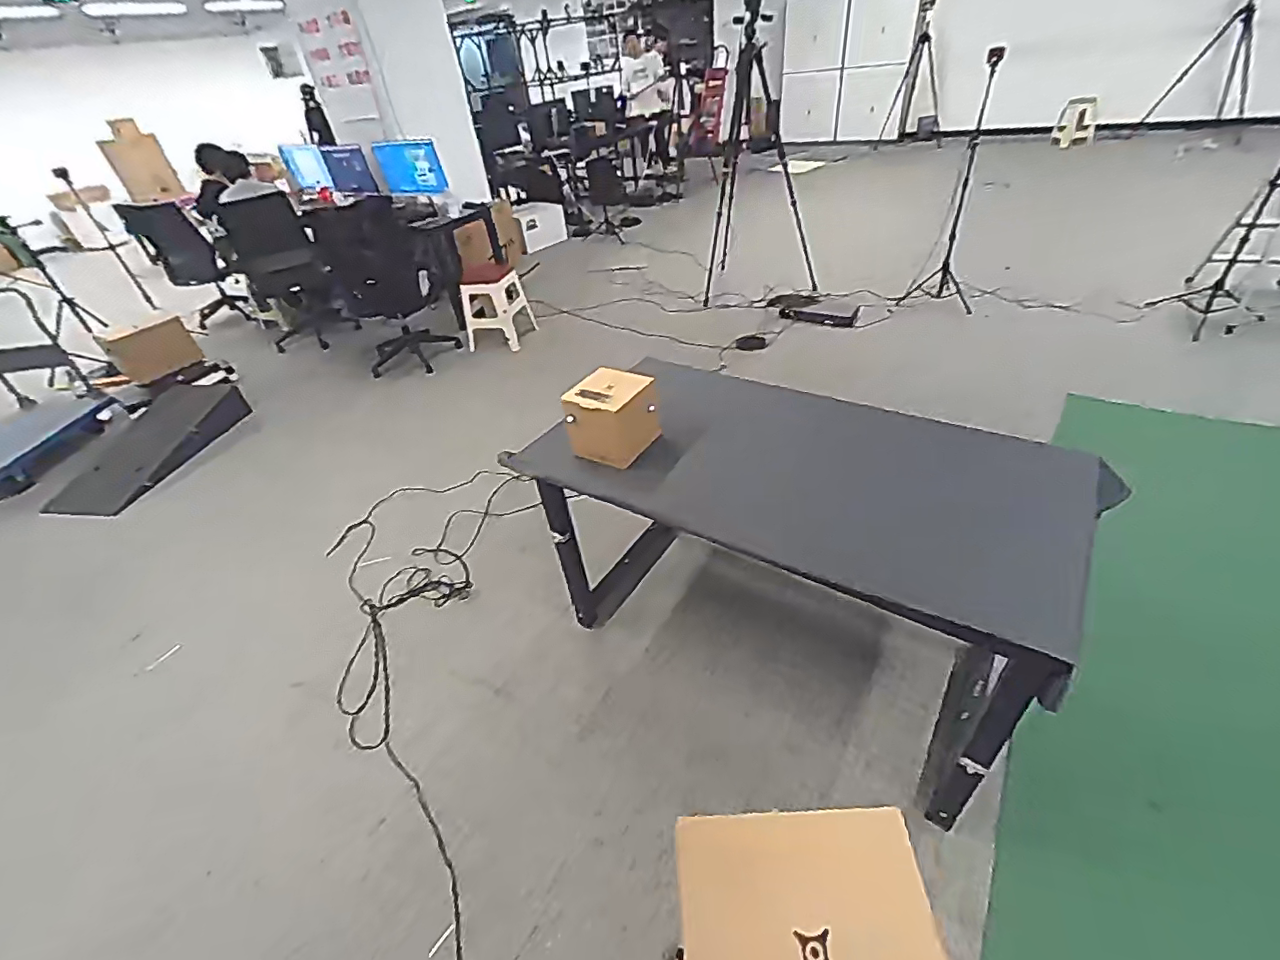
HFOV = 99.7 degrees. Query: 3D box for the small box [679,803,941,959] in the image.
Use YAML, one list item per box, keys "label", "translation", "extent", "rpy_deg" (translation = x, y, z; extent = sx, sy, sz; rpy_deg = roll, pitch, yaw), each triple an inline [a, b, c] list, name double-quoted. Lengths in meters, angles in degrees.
- label: "small box"
  translation: [0.116, 0.363, 0.408]
  extent: [0.168, 0.176, 0.179]
  rpy_deg: [-5, 50, 2]
